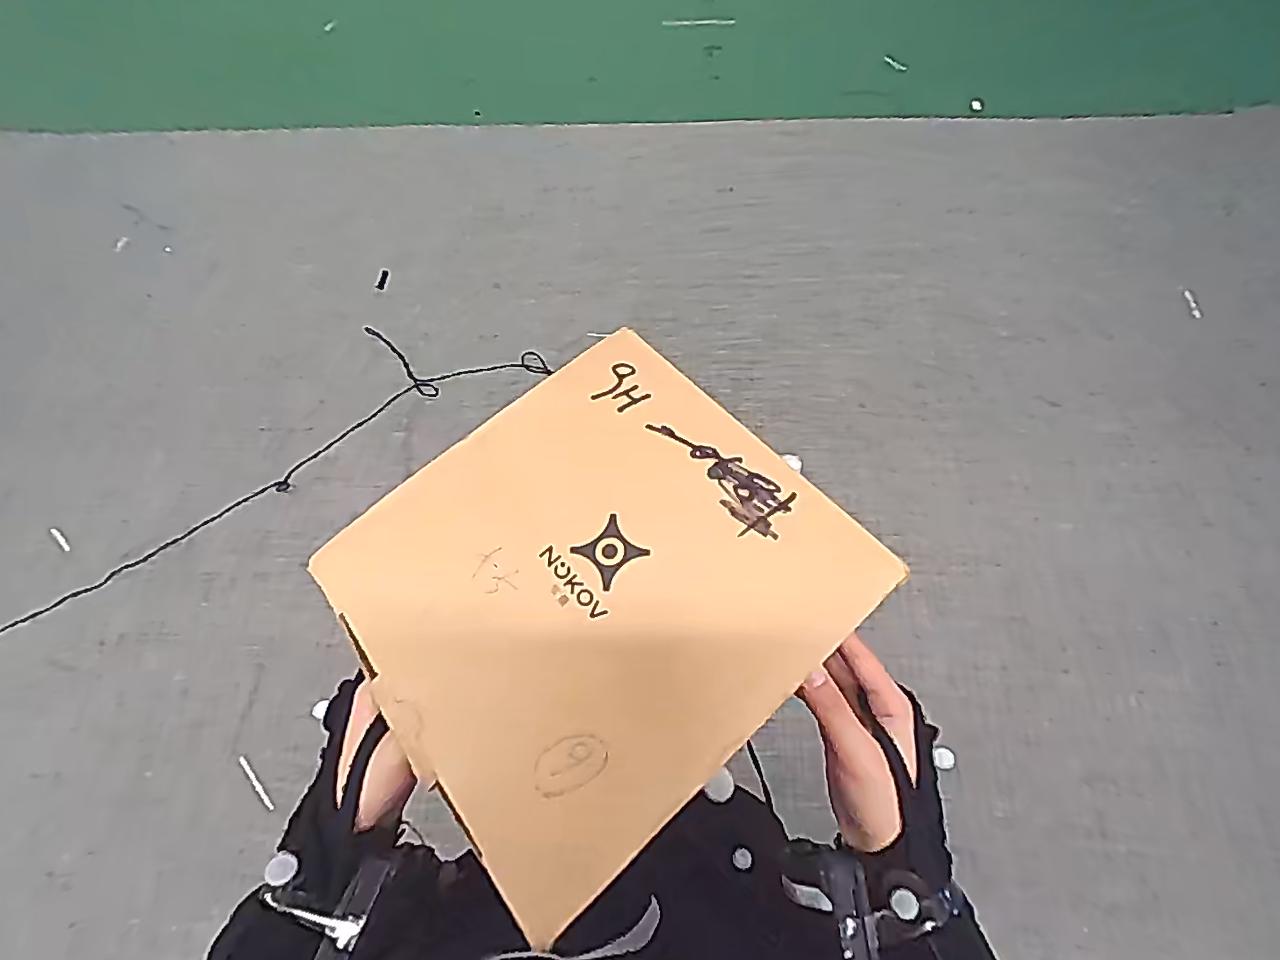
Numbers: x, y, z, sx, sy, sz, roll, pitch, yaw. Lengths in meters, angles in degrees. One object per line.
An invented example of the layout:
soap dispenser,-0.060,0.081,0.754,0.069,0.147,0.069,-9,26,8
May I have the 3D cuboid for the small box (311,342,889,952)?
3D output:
small box,-0.013,0.073,0.282,0.179,0.176,0.168,-40,67,-12
